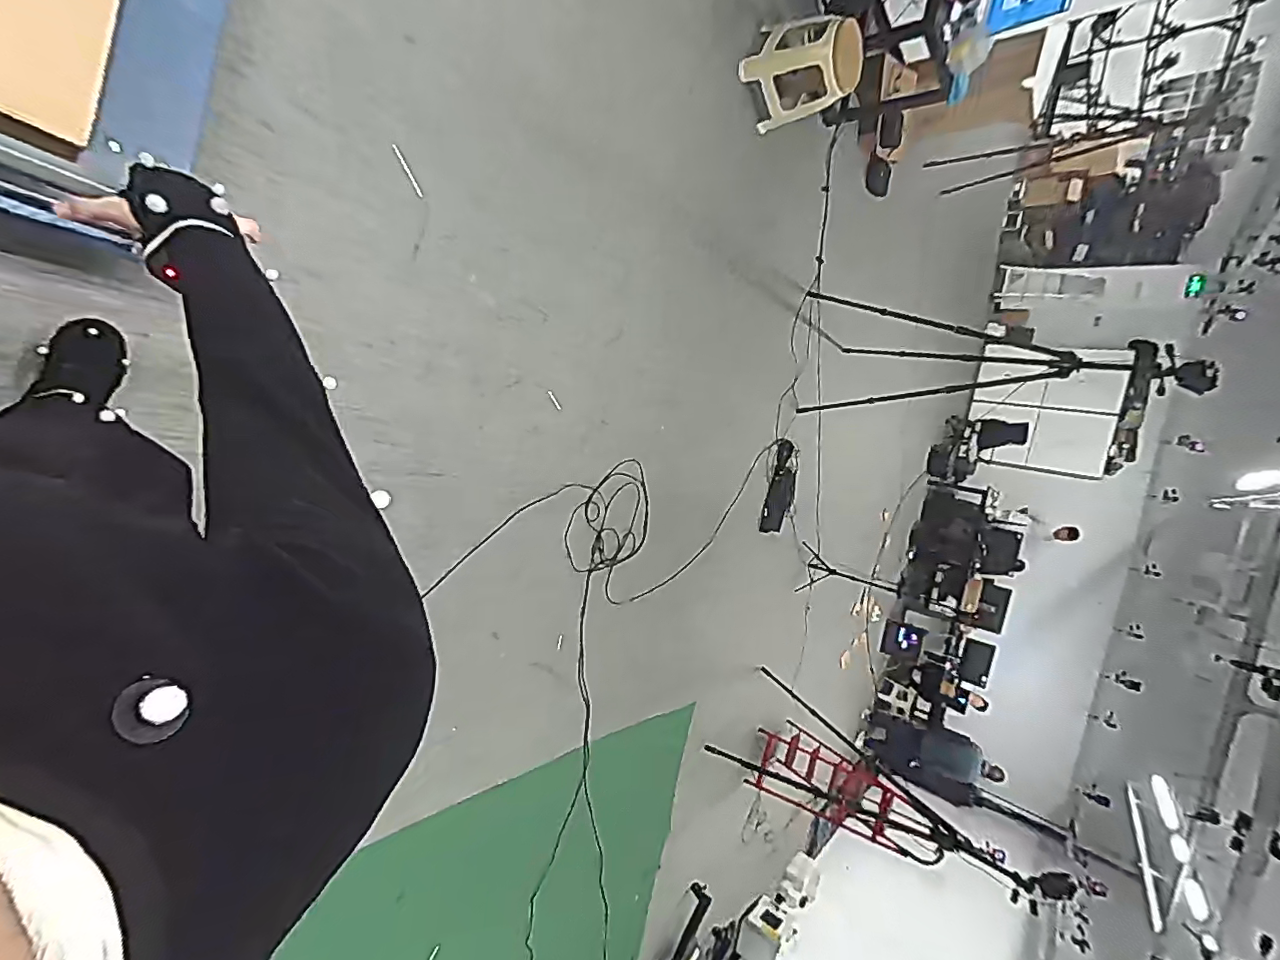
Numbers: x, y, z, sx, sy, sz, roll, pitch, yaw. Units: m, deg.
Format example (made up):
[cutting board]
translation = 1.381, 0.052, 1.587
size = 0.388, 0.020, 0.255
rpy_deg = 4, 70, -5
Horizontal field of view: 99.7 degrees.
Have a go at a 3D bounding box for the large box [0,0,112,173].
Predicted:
[large box]
translation = -0.957, -0.721, 0.740
size = 0.320, 0.320, 0.408
rpy_deg = 11, 92, -51
